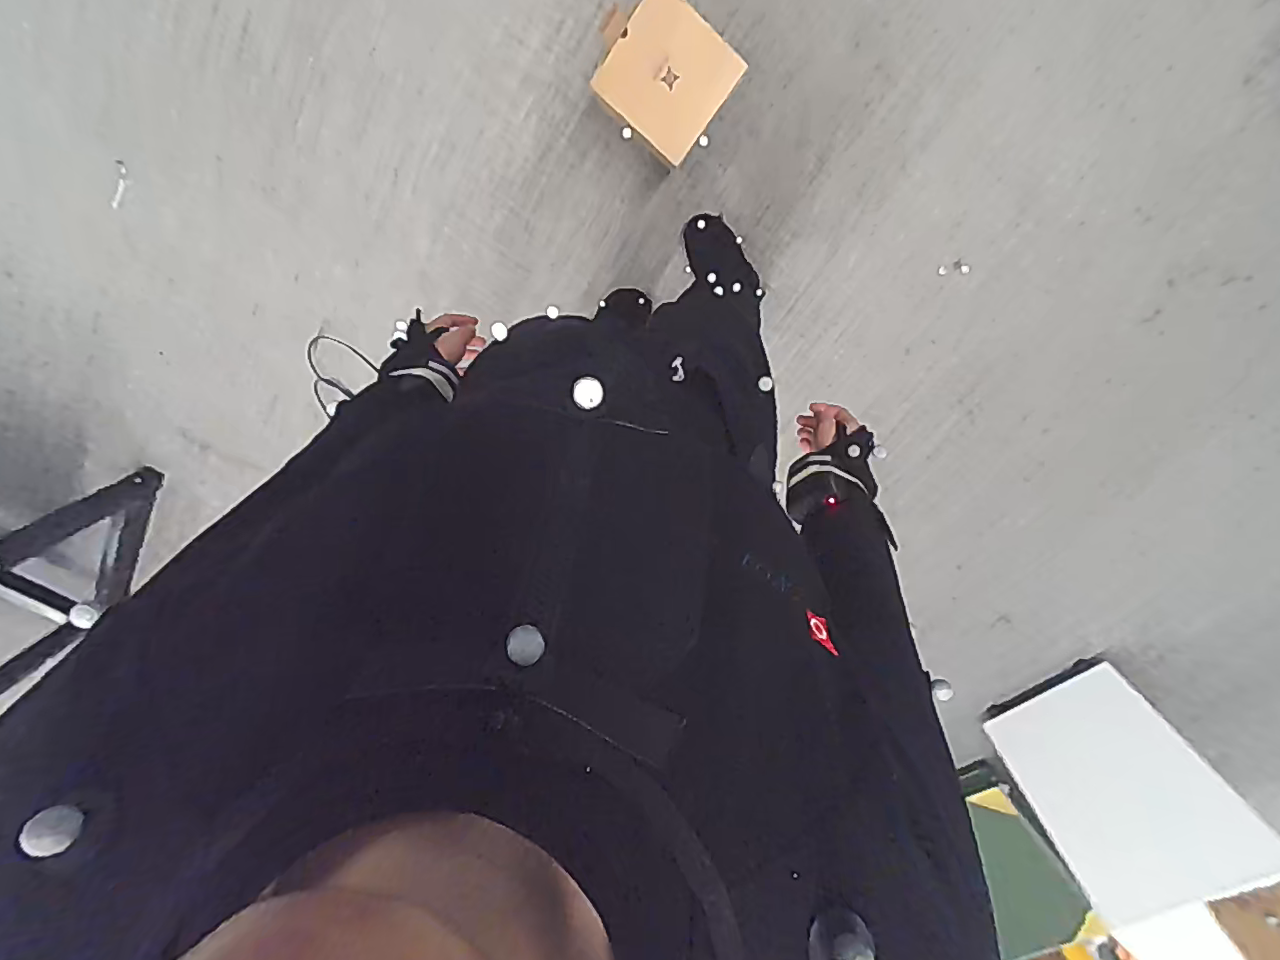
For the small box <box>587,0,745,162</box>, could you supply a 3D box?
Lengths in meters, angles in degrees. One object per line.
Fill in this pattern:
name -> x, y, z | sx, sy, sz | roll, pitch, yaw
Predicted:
small box -> 0.042, -0.638, 0.859 | 0.179, 0.176, 0.168 | 36, 113, -14
